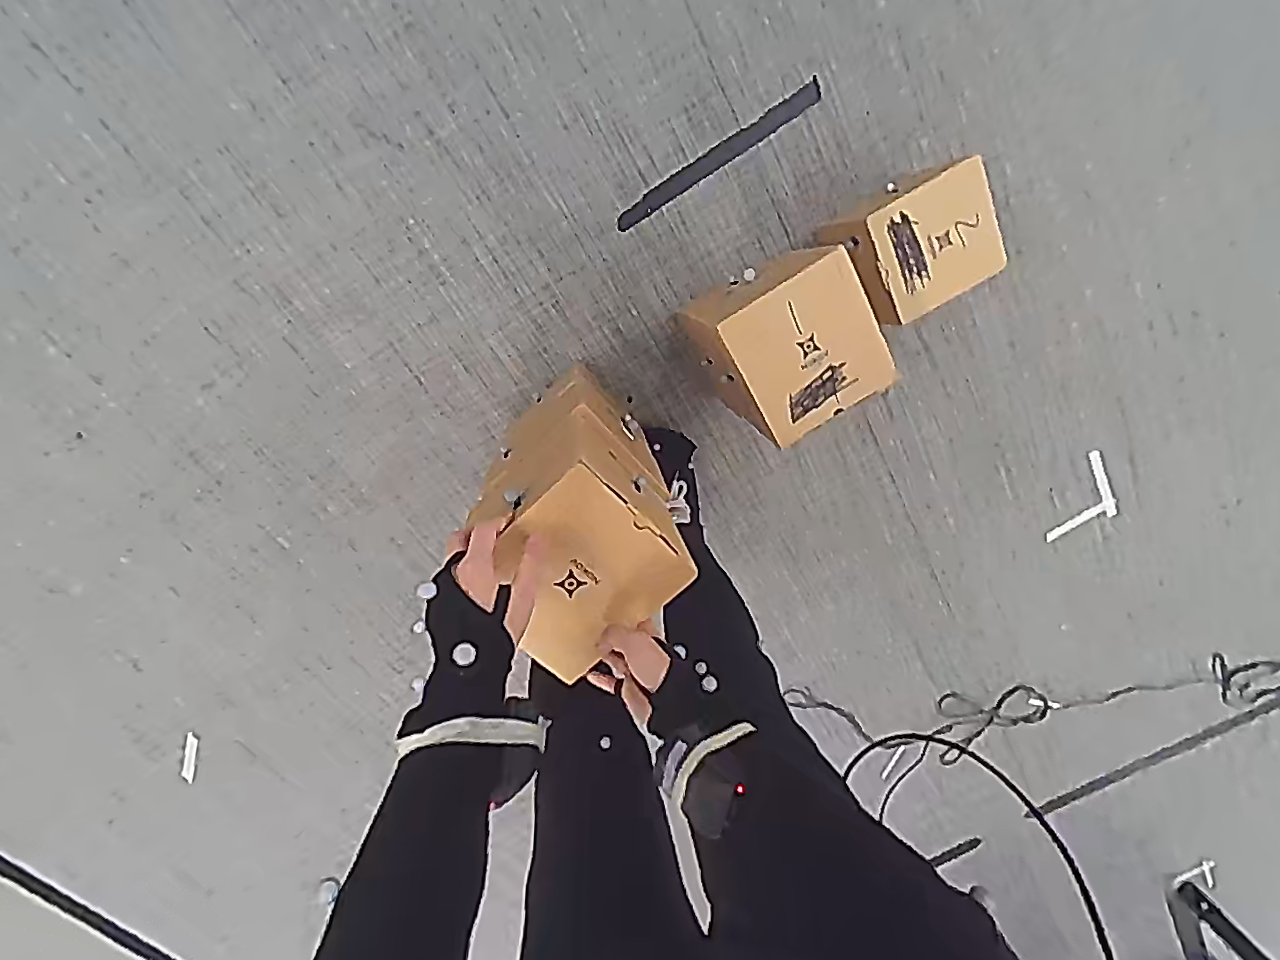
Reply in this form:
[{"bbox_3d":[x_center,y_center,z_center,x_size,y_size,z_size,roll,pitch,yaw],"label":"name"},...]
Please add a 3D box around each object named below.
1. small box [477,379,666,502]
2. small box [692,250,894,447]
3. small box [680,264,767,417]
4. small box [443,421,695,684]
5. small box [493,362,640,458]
[{"bbox_3d":[-0.090,-0.011,0.735,0.179,0.176,0.168,-41,111,8],"label":"small box"},{"bbox_3d":[0.187,-0.175,0.701,0.168,0.176,0.179,-31,110,6],"label":"small box"},{"bbox_3d":[0.177,-0.228,0.857,0.168,0.176,0.179,-27,112,5],"label":"small box"},{"bbox_3d":[-0.072,0.066,0.570,0.179,0.176,0.168,-42,111,7],"label":"small box"},{"bbox_3d":[-0.110,-0.067,0.887,0.179,0.176,0.168,-42,110,11],"label":"small box"}]
